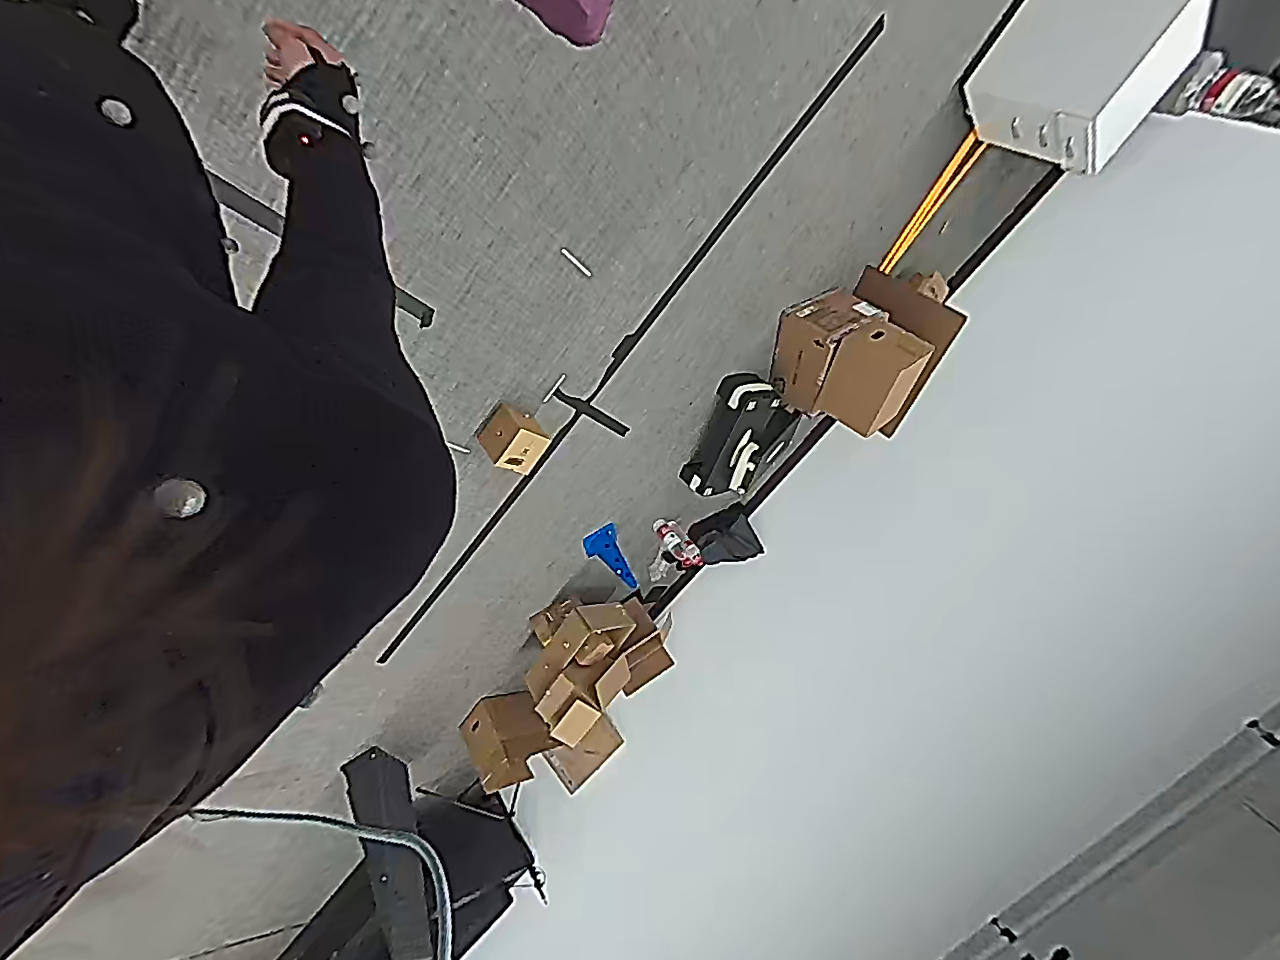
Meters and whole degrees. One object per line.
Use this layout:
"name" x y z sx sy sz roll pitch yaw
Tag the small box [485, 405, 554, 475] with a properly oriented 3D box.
"small box" -0.467 -0.153 2.059 0.179 0.176 0.168 -51 145 13
